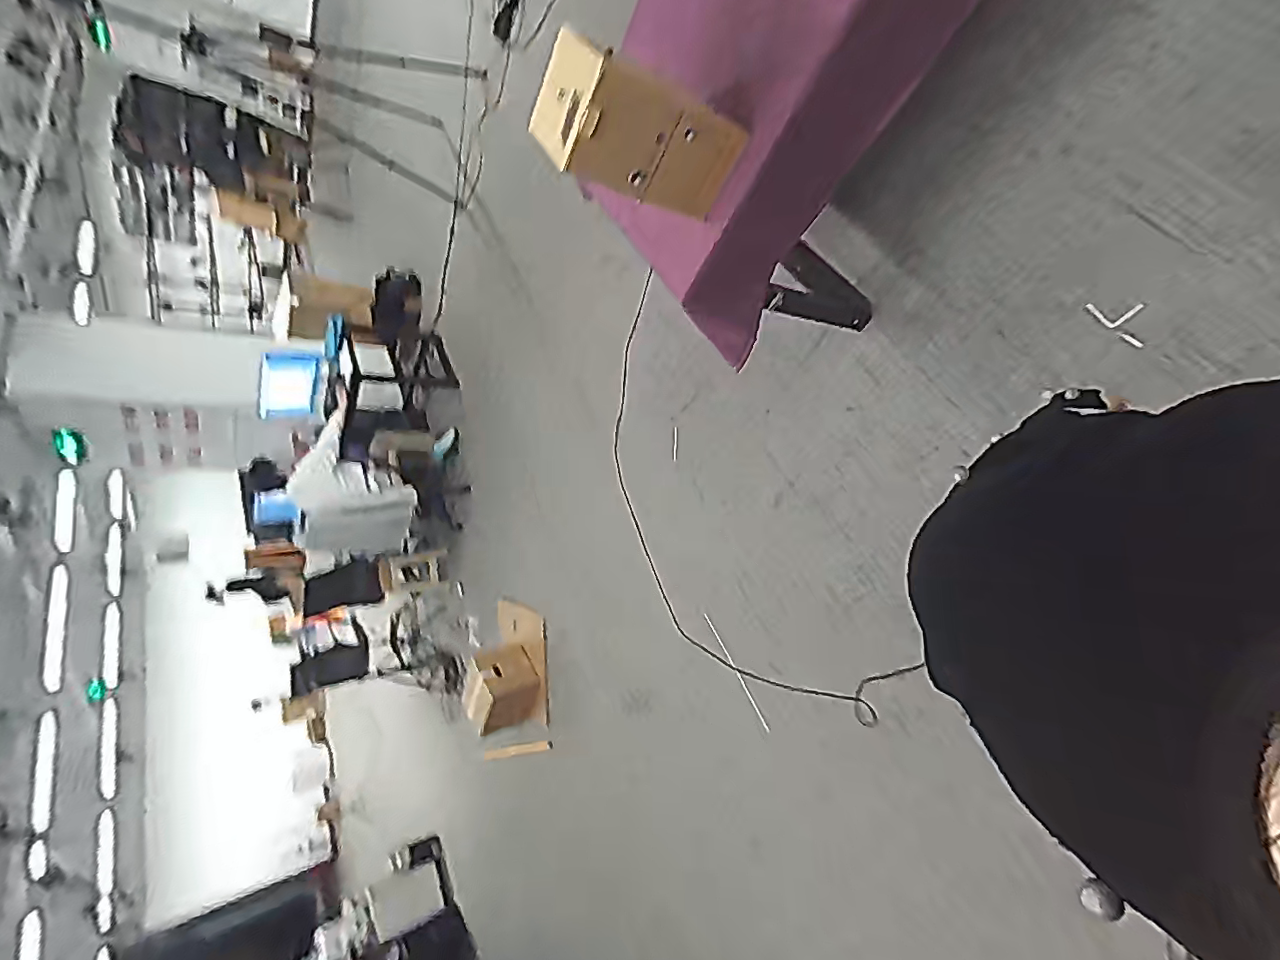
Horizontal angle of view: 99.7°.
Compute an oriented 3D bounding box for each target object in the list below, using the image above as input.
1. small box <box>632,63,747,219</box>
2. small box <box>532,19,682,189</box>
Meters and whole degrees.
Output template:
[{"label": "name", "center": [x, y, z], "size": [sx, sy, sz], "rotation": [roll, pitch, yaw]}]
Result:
[{"label": "small box", "center": [0.069, -0.635, 1.033], "size": [0.179, 0.176, 0.168], "rotation": [-54, 53, 36]}, {"label": "small box", "center": [-0.058, -0.631, 0.929], "size": [0.168, 0.176, 0.179], "rotation": [-54, 52, 36]}]
